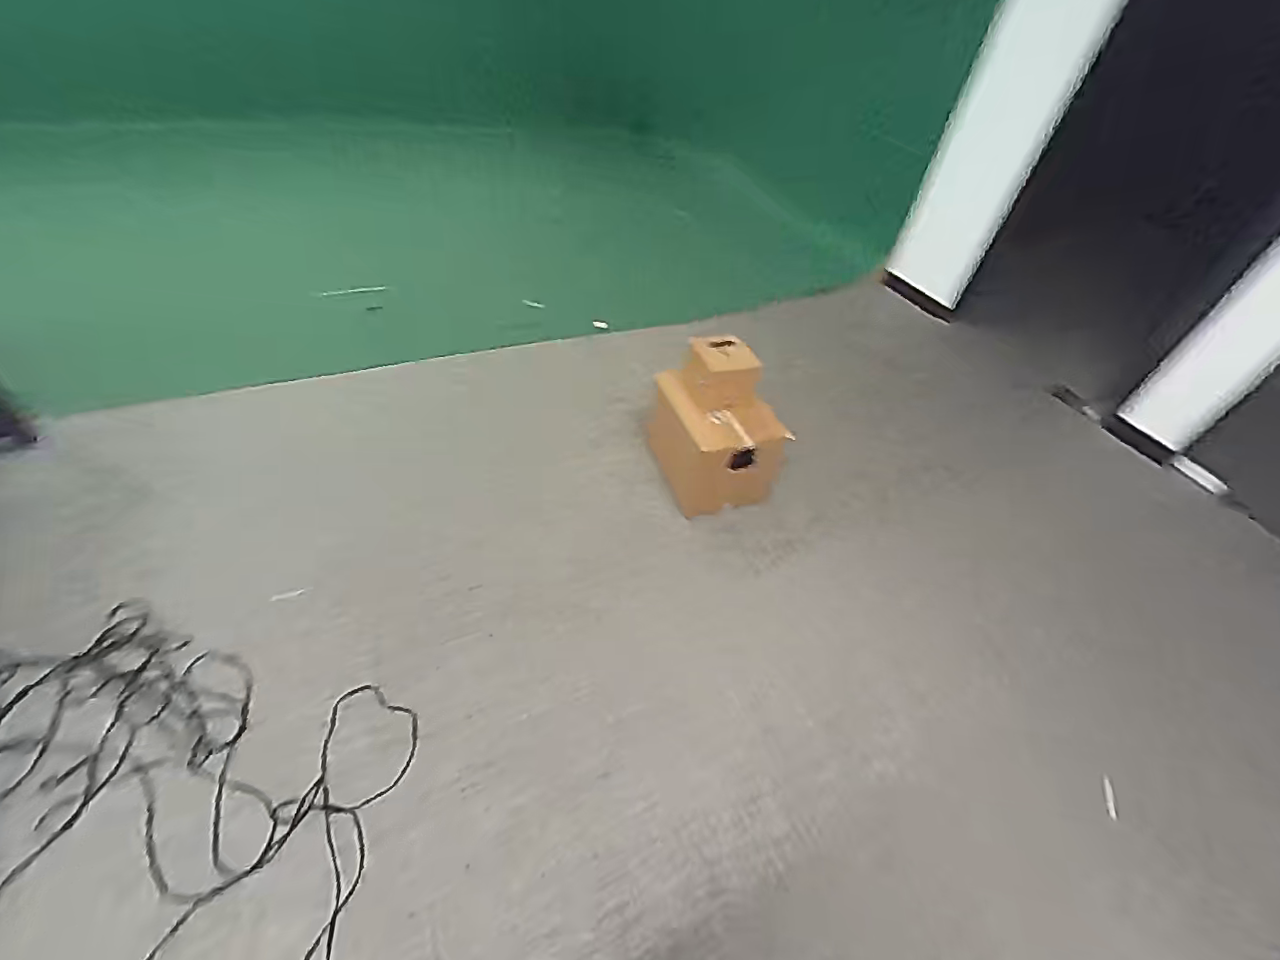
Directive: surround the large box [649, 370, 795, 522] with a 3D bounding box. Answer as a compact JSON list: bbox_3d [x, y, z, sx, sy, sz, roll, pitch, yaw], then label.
[{"bbox_3d":[0.256,-0.124,1.863,0.320,0.320,0.408,-11,50,-18],"label":"large box"}]
